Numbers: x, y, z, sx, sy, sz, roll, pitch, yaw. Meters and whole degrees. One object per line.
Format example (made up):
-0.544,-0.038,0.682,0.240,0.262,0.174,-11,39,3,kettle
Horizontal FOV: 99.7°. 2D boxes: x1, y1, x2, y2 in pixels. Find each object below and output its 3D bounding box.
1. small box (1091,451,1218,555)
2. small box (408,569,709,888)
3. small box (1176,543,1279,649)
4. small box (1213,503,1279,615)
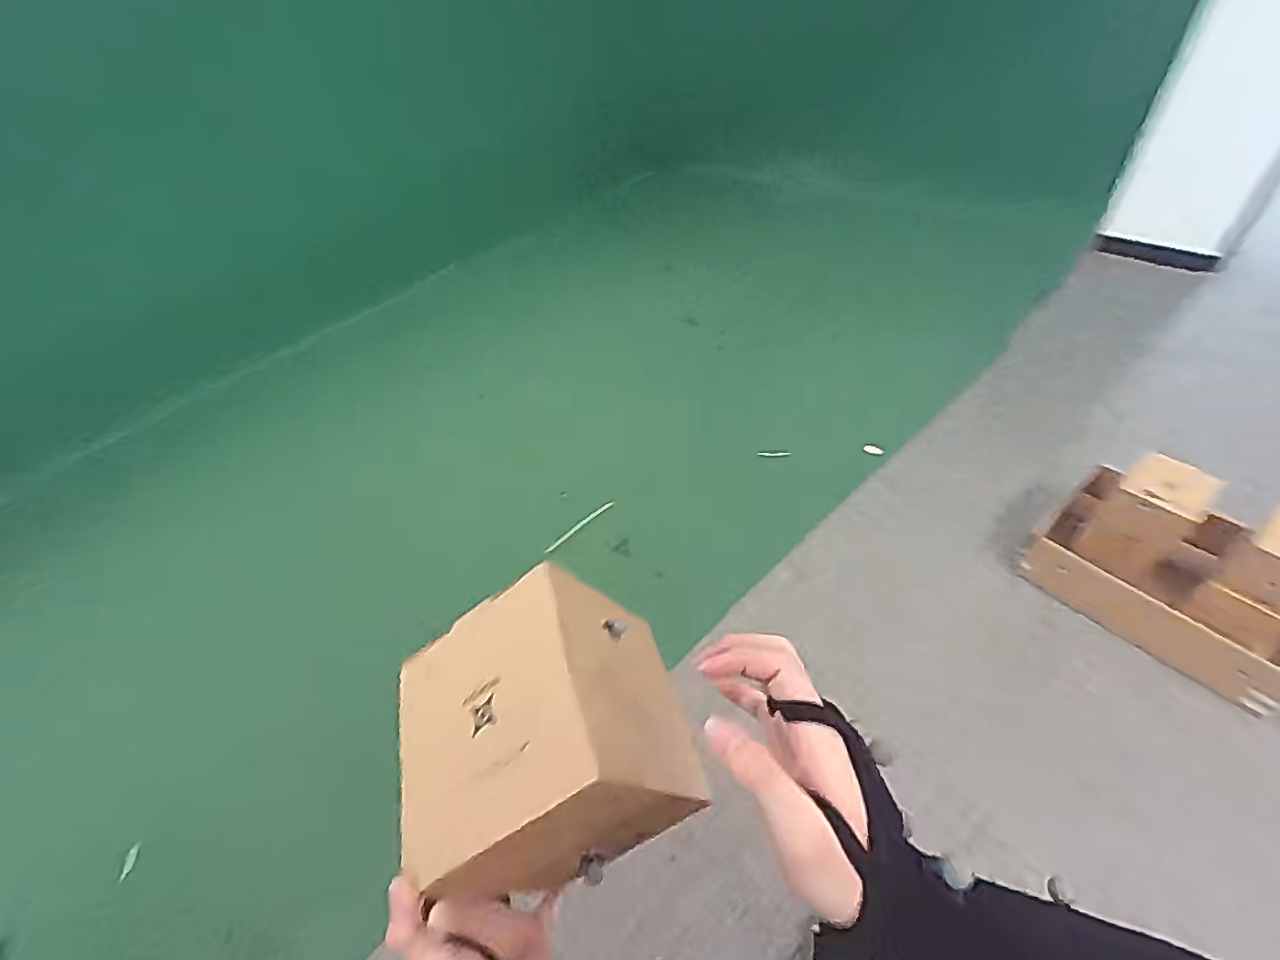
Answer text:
1.358,0.062,1.440,0.179,0.176,0.168,-37,52,-20,small box
-0.069,0.214,0.458,0.168,0.176,0.179,-35,45,10,small box
1.562,0.305,1.409,0.179,0.176,0.168,-36,51,-19,small box
1.537,0.197,1.287,0.179,0.176,0.168,-35,51,-18,small box
